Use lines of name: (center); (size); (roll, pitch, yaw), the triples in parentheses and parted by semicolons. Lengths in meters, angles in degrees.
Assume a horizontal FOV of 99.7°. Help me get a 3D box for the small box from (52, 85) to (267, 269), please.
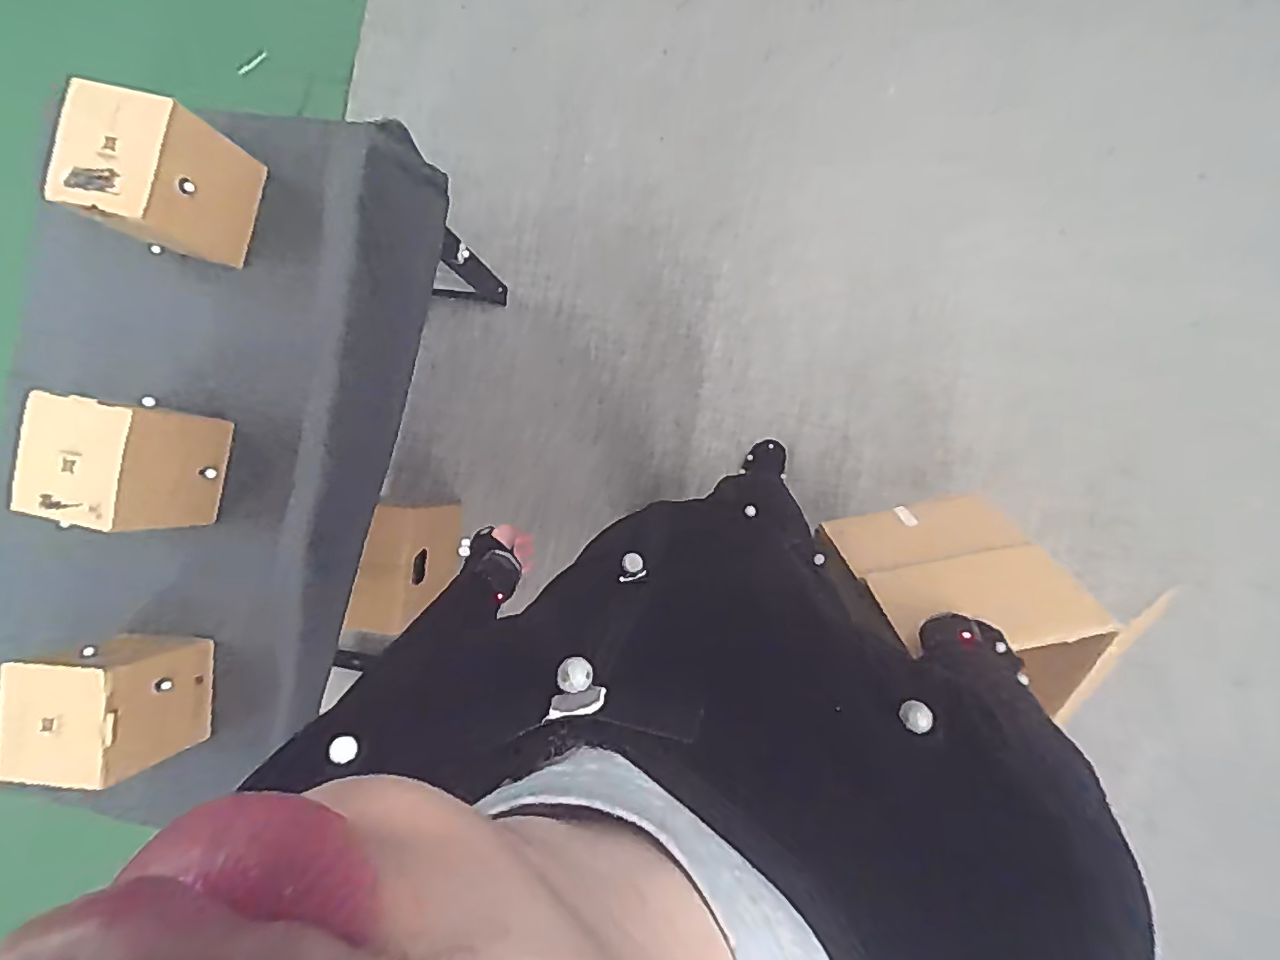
small box: (-0.725, -0.453, 0.835); (0.168, 0.176, 0.179); (16, 90, 6)

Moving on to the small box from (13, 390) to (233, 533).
small box: (-0.779, -0.024, 0.835); (0.168, 0.176, 0.179); (12, 89, 7)

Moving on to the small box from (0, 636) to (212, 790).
small box: (-0.806, 0.344, 0.831); (0.179, 0.176, 0.168); (1, 87, 8)
